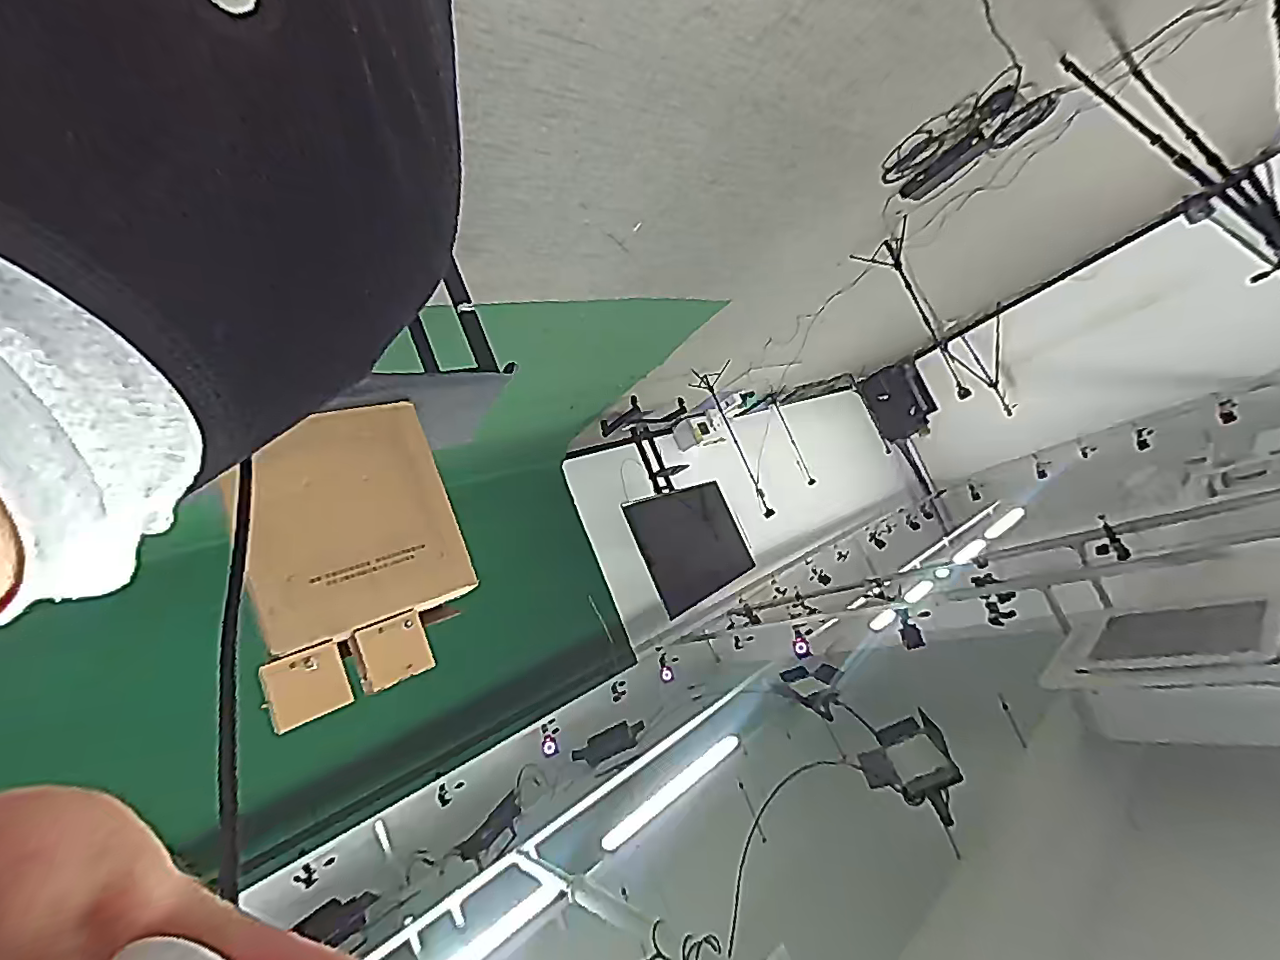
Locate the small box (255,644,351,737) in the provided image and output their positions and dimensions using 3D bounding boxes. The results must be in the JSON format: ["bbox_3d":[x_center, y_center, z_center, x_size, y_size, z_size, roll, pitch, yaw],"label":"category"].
[{"bbox_3d":[-0.868,0.537,1.388,0.168,0.176,0.179,-18,170,-40],"label":"small box"}]
